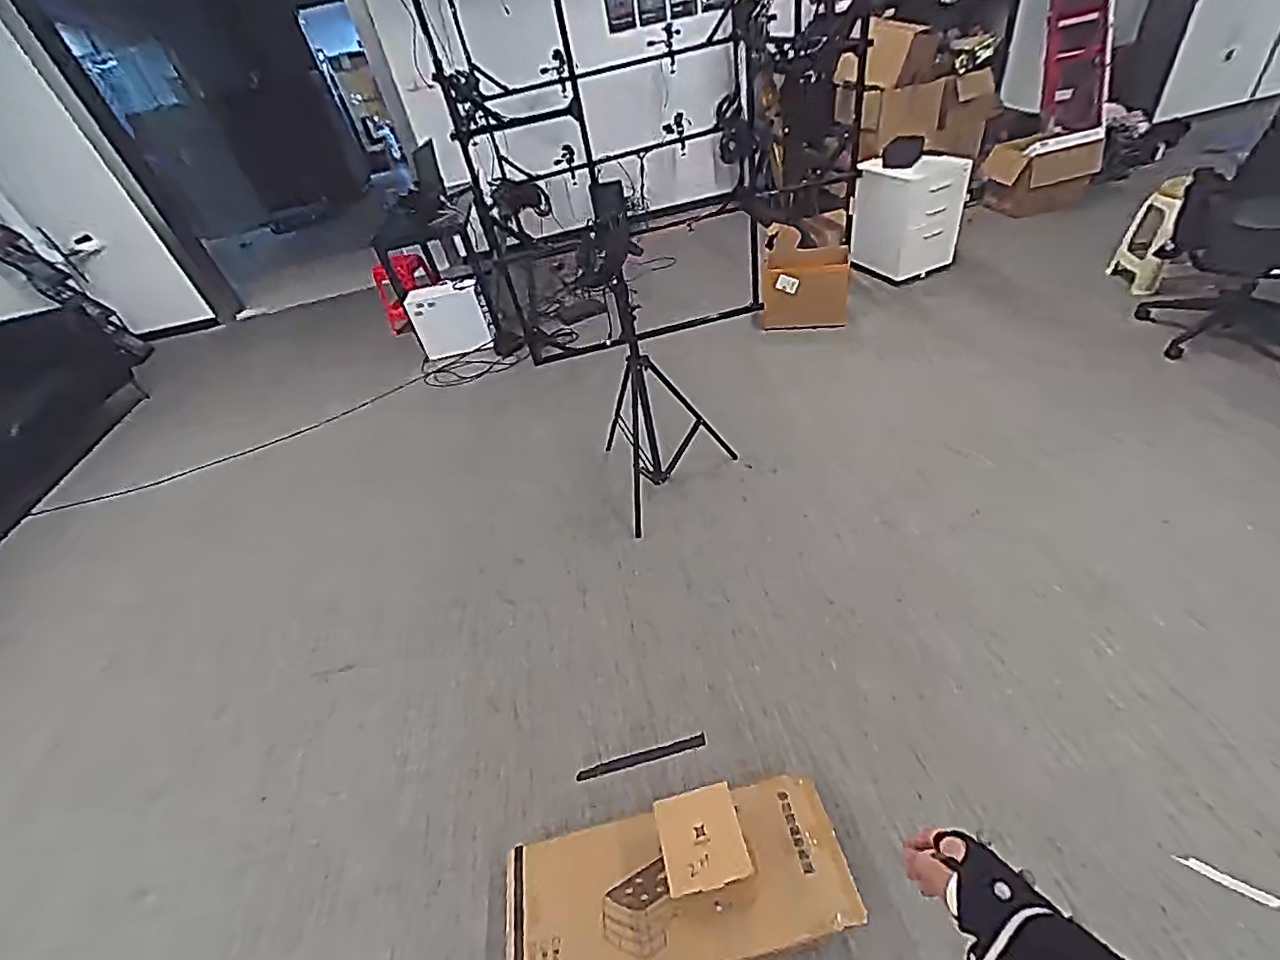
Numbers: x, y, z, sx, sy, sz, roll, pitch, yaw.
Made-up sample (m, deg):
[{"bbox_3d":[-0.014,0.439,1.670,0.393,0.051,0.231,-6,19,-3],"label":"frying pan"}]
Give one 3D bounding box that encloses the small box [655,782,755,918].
[{"bbox_3d":[0.136,0.777,1.135,0.168,0.176,0.179,-15,40,-2],"label":"small box"}]
